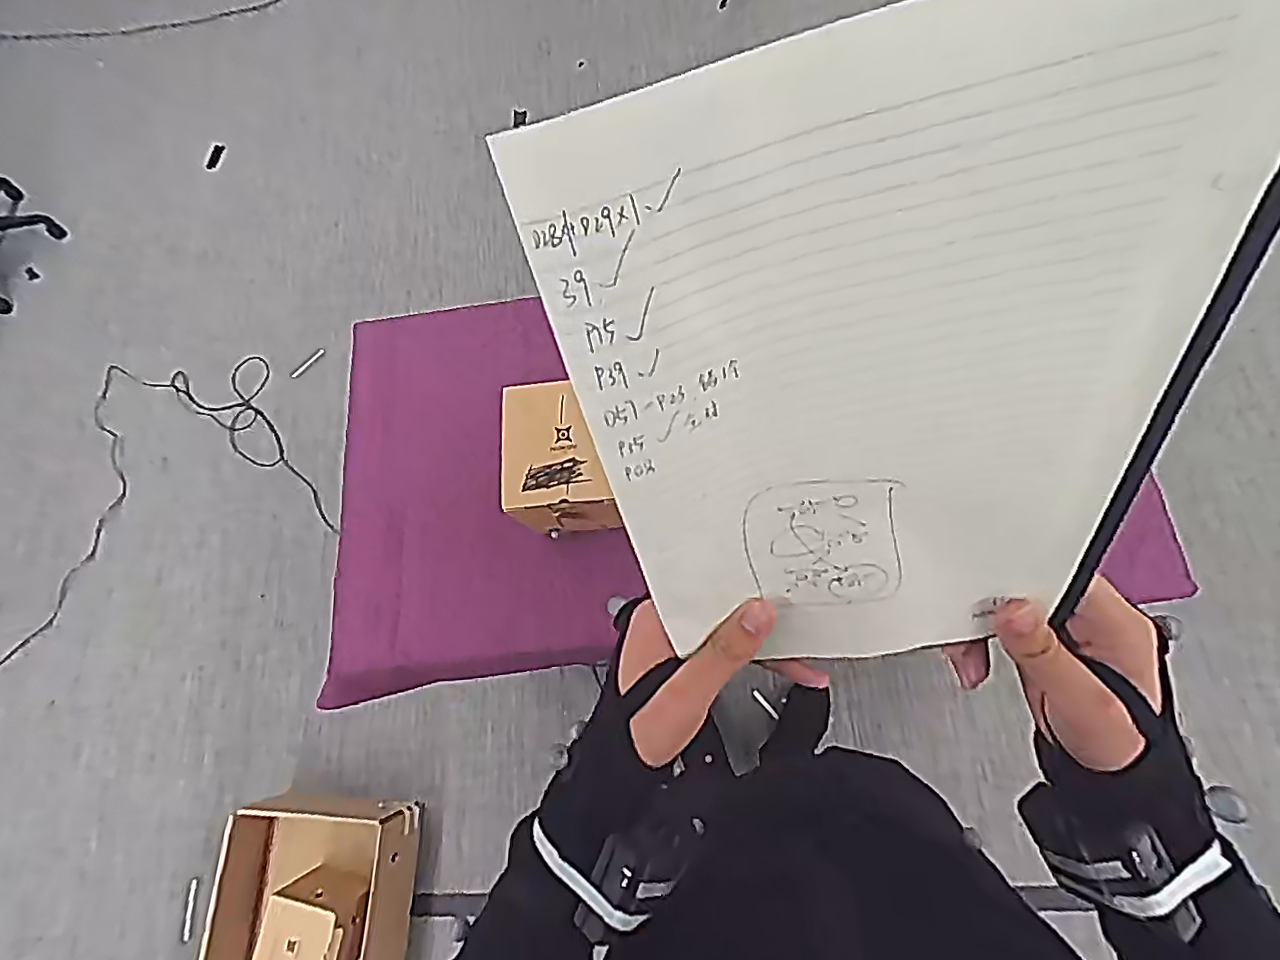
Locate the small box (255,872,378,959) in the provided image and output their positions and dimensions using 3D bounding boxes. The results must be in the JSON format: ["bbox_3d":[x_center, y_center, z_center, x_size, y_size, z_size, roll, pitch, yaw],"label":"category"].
[{"bbox_3d":[-0.748,1.053,1.260,0.179,0.176,0.168,7,75,9],"label":"small box"}]

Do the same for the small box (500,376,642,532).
[{"bbox_3d":[-0.090,-0.026,0.772,0.168,0.176,0.179,-6,72,6],"label":"small box"}]
